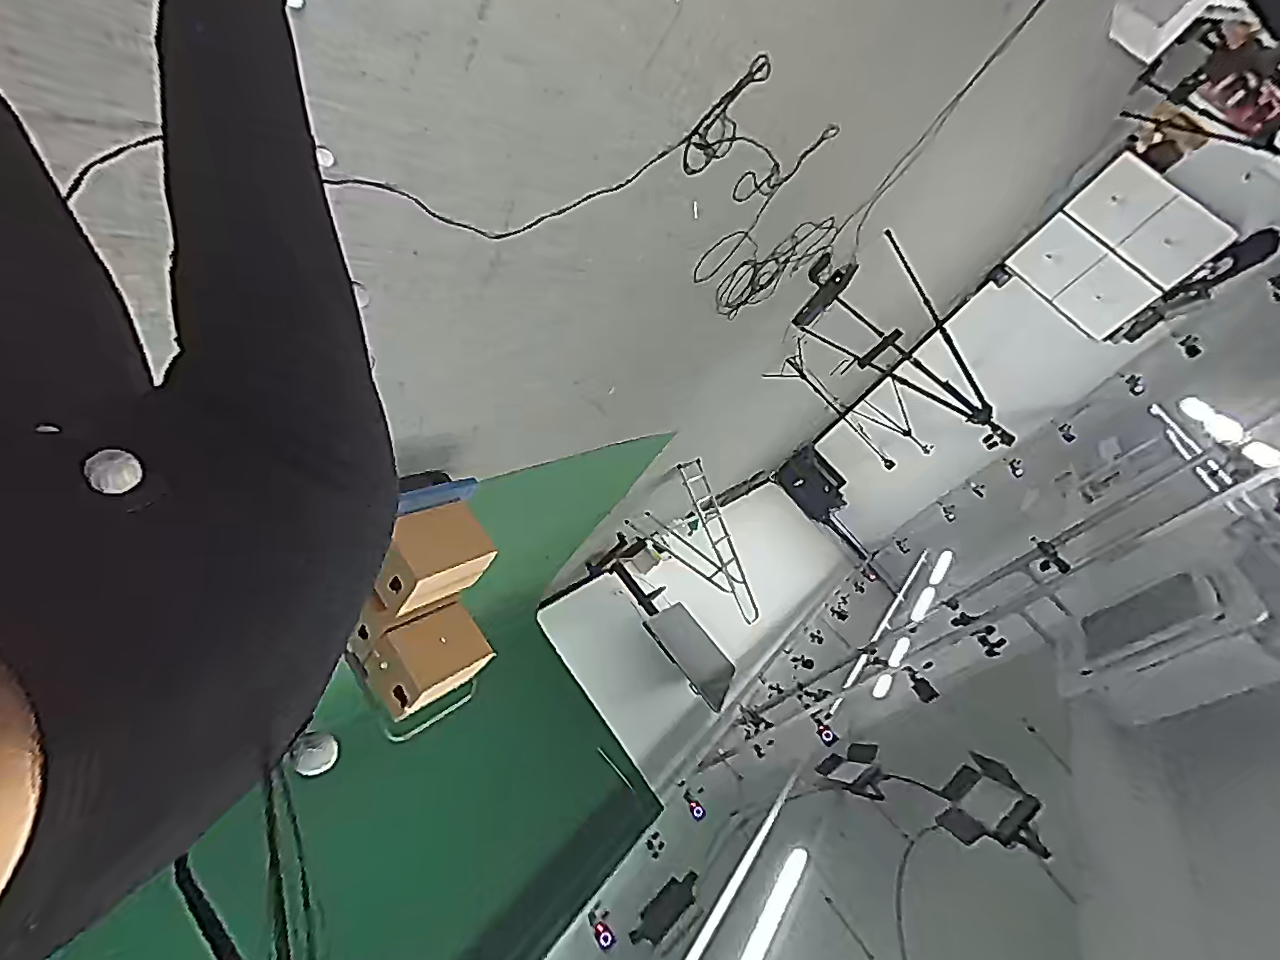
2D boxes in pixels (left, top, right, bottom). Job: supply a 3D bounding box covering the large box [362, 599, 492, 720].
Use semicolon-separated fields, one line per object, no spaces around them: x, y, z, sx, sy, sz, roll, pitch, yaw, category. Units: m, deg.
-0.979;0.813;2.490;0.320;0.320;0.408;-45;166;31;large box
